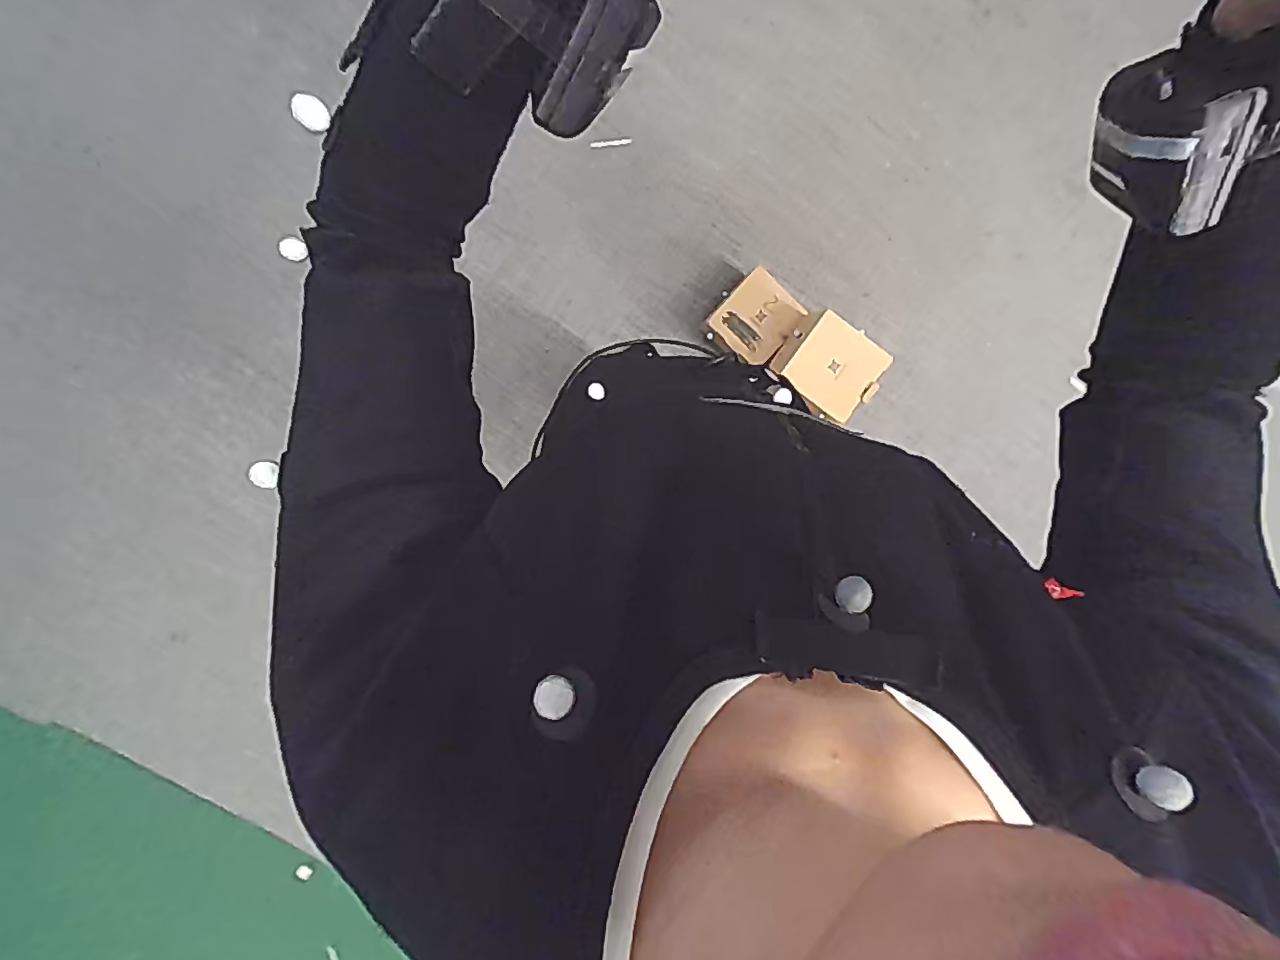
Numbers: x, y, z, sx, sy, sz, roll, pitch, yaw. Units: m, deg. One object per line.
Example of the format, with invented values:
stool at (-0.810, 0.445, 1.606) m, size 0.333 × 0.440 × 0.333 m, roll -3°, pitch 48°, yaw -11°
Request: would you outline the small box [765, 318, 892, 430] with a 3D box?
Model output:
small box at (0.398, -0.228, 1.181) m, size 0.179 × 0.176 × 0.168 m, roll 34°, pitch 100°, yaw -6°
